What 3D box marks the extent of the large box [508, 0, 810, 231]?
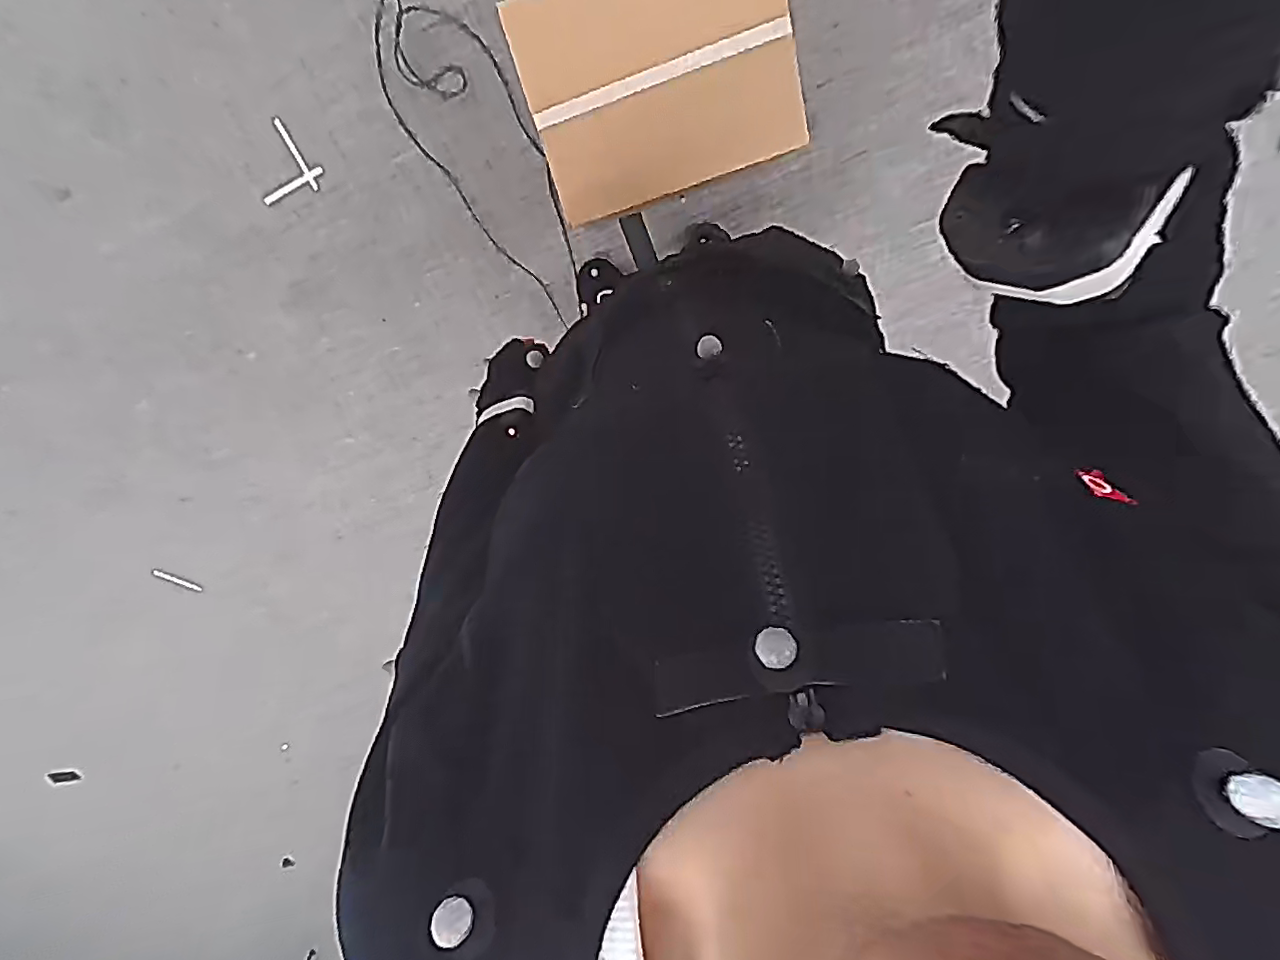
[{"bbox_3d":[0.038,-0.666,0.959,0.408,0.320,0.320,-15,114,8],"label":"large box"}]
